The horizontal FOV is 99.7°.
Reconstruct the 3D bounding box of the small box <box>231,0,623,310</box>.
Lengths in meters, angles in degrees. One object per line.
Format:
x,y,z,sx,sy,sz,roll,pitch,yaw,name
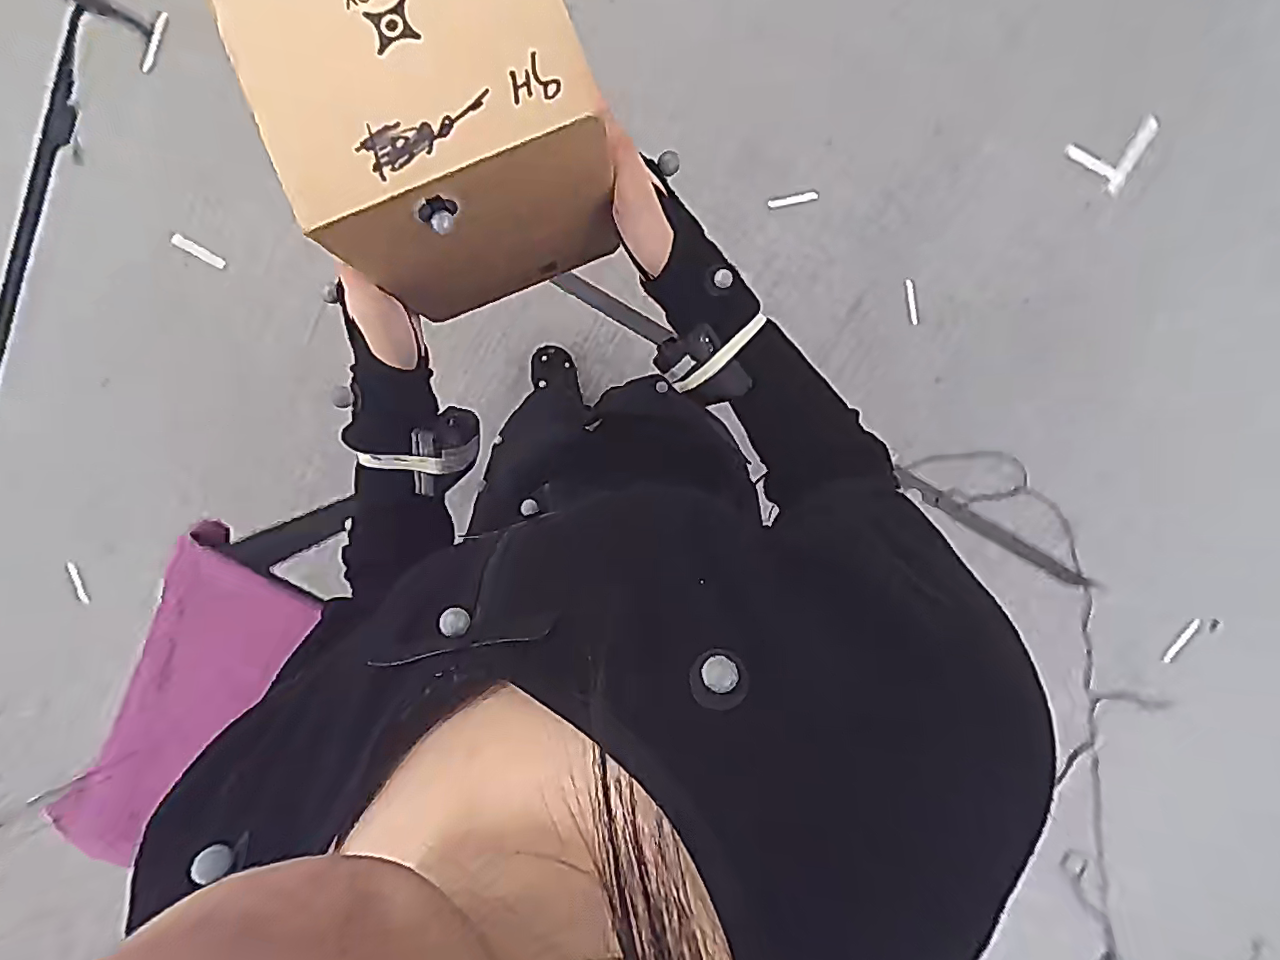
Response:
-0.116,-0.238,0.348,0.168,0.176,0.179,-20,90,2,small box
